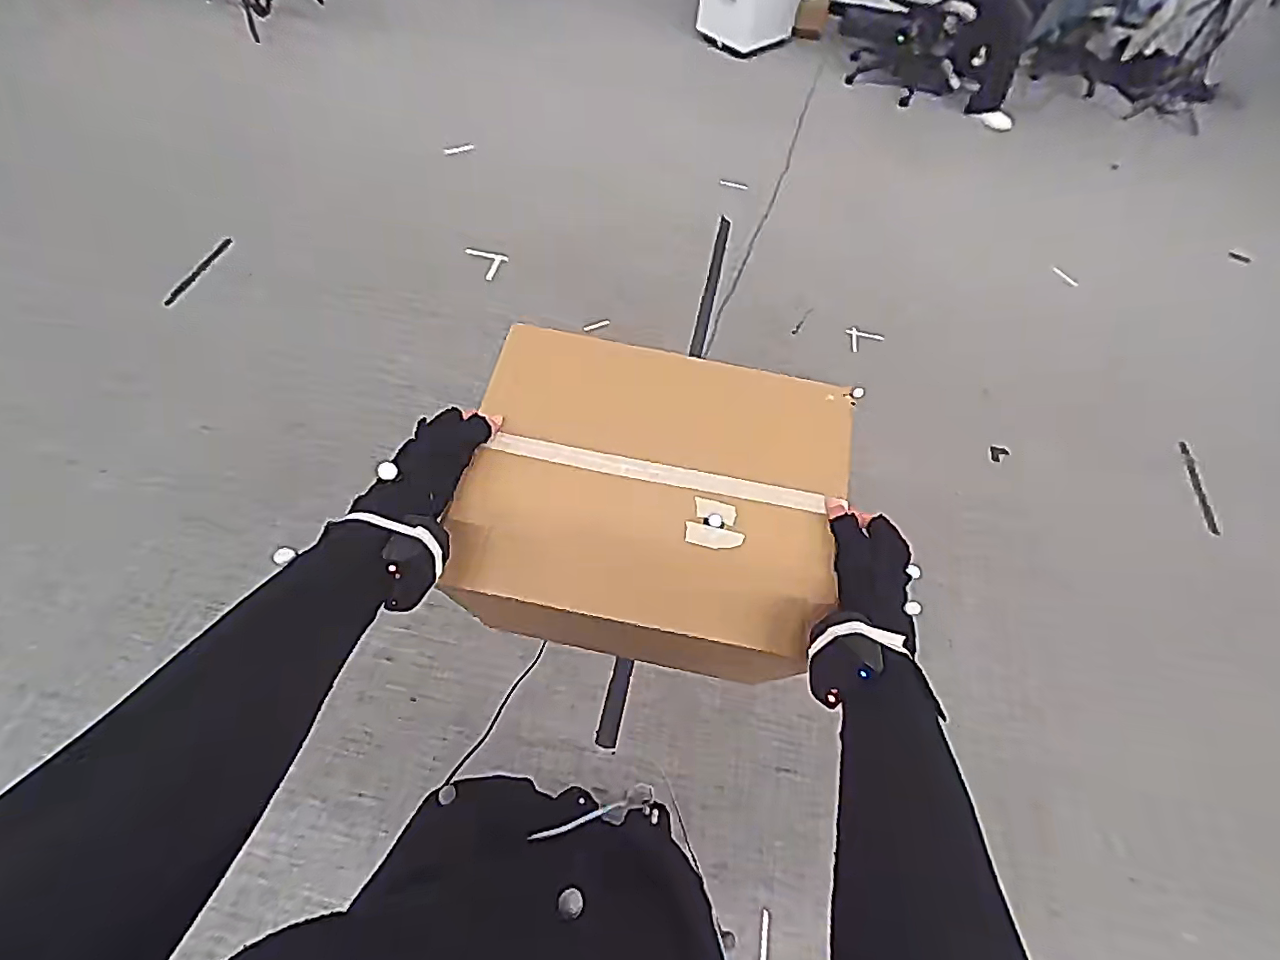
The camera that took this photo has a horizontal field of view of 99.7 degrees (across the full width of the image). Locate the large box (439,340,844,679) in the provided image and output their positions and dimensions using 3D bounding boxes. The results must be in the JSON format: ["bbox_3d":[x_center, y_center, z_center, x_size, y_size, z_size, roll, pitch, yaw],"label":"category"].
[{"bbox_3d":[0.011,0.061,0.721,0.408,0.320,0.320,11,67,1],"label":"large box"}]
